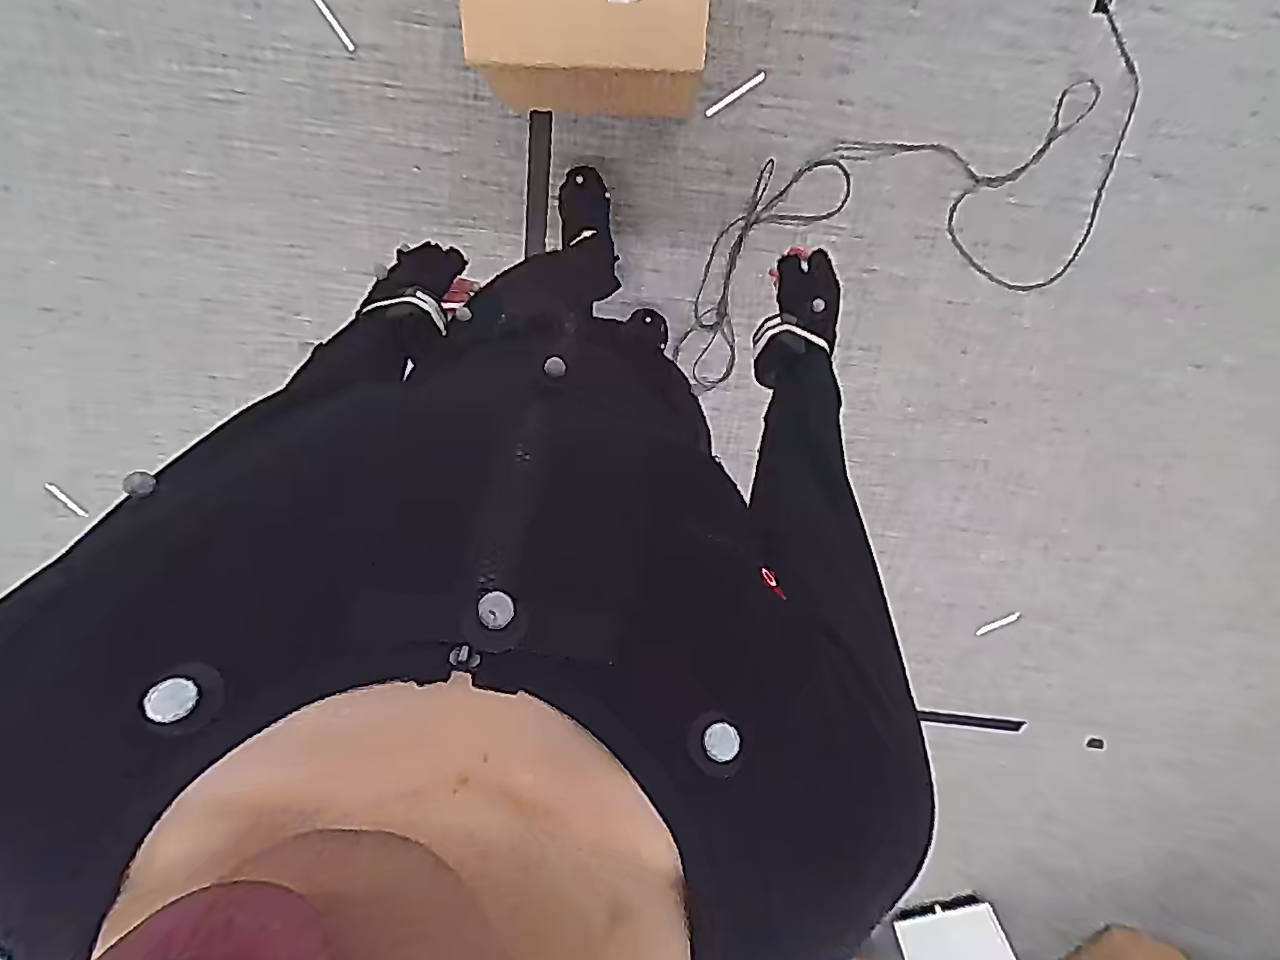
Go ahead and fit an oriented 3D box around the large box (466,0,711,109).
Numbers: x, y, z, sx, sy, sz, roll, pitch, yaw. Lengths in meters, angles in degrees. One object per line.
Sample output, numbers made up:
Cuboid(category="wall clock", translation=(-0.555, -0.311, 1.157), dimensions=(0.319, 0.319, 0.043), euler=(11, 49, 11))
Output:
Cuboid(category="large box", translation=(-0.080, -0.902, 0.979), dimensions=(0.408, 0.320, 0.320), euler=(3, 111, 0))
